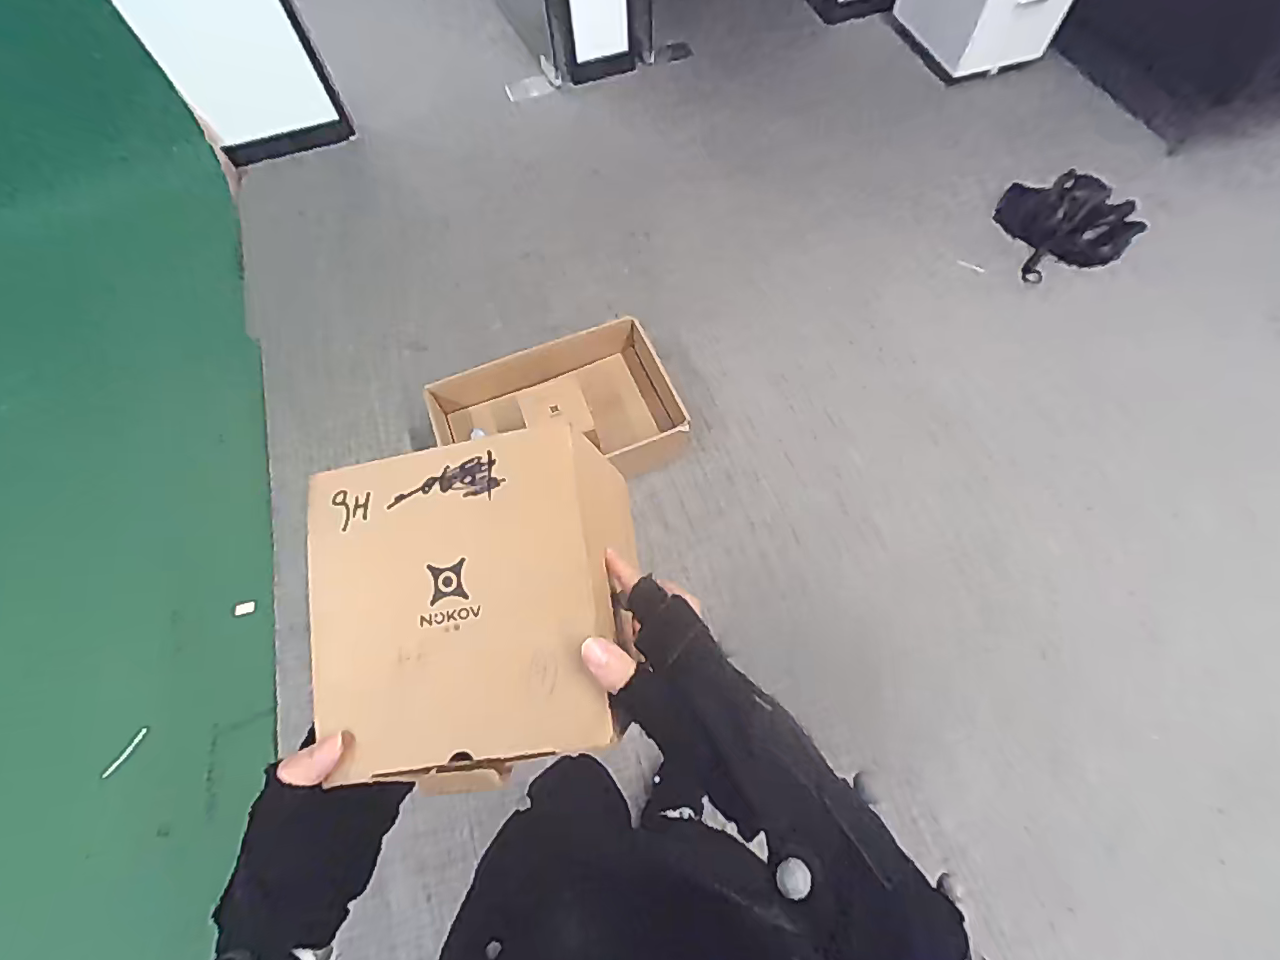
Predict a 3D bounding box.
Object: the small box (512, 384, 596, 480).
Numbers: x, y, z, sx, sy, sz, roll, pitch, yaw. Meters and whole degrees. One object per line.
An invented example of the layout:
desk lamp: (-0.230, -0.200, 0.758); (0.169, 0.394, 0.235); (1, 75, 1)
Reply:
small box: (-0.223, -0.119, 1.444); (0.168, 0.176, 0.179); (-19, 64, -9)
